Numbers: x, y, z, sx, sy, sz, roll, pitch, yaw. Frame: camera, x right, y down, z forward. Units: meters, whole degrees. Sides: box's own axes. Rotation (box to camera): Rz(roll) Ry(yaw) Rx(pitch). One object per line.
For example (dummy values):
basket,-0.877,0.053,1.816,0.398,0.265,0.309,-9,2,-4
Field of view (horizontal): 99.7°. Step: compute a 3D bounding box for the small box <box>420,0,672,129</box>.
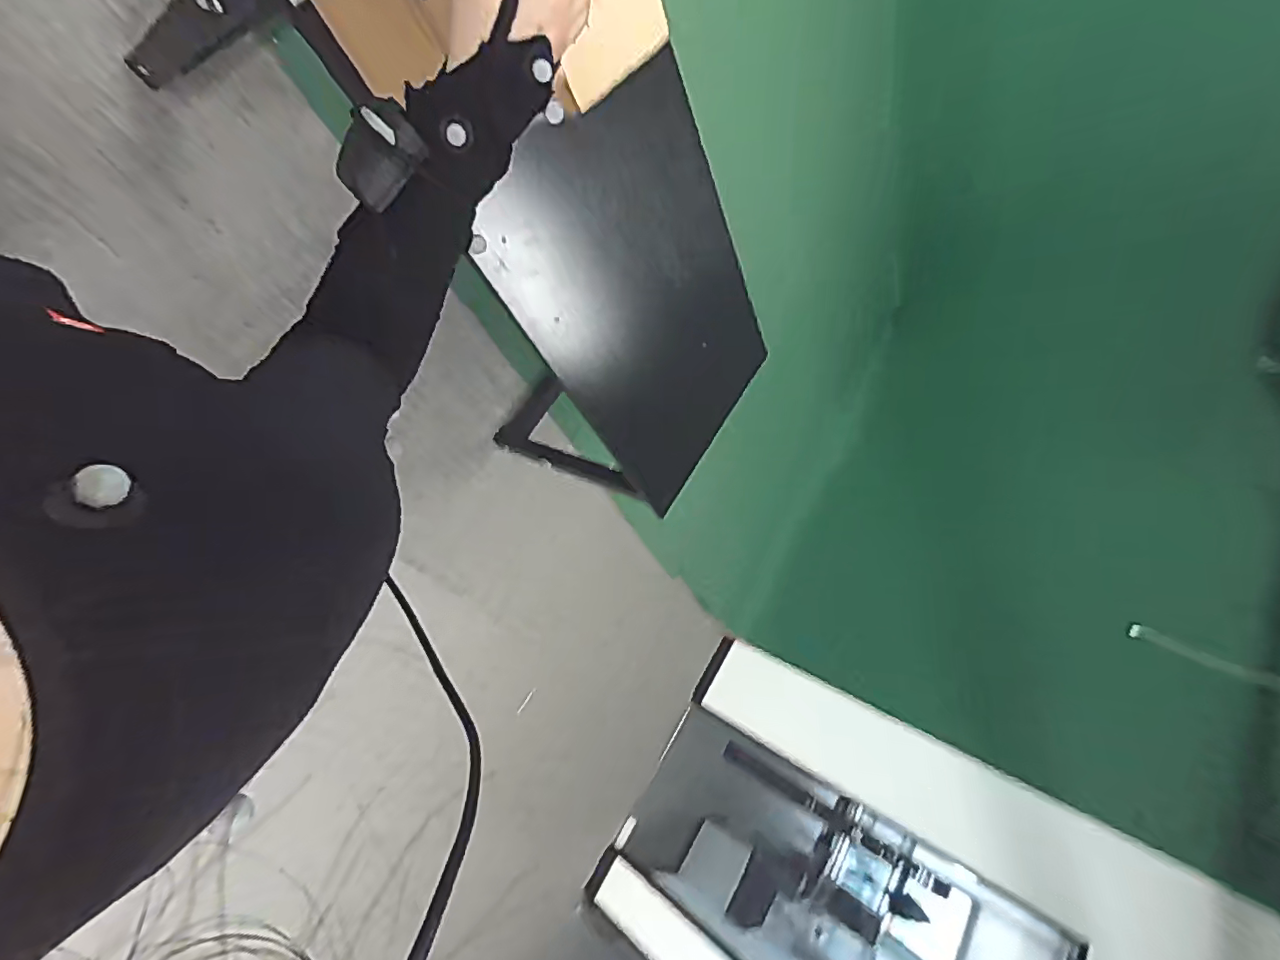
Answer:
small box,-0.101,-0.486,0.545,0.179,0.176,0.168,-53,141,-22
